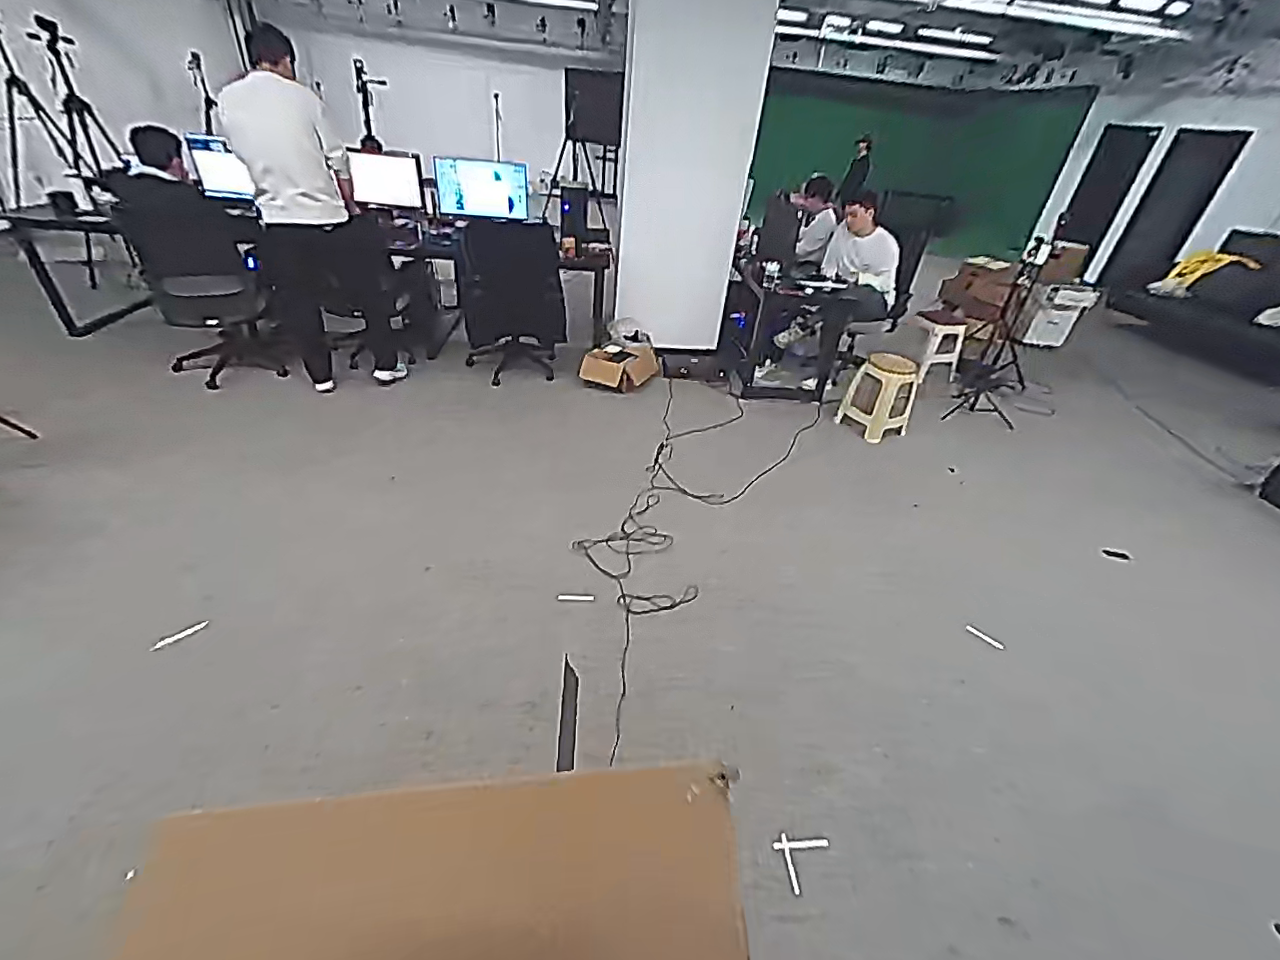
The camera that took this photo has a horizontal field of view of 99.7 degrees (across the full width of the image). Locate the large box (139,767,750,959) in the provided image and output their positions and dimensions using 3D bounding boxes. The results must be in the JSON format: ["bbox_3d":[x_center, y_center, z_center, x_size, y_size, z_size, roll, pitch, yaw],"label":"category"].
[{"bbox_3d":[-0.136,0.448,0.456,0.408,0.320,0.320,0,59,-9],"label":"large box"}]
